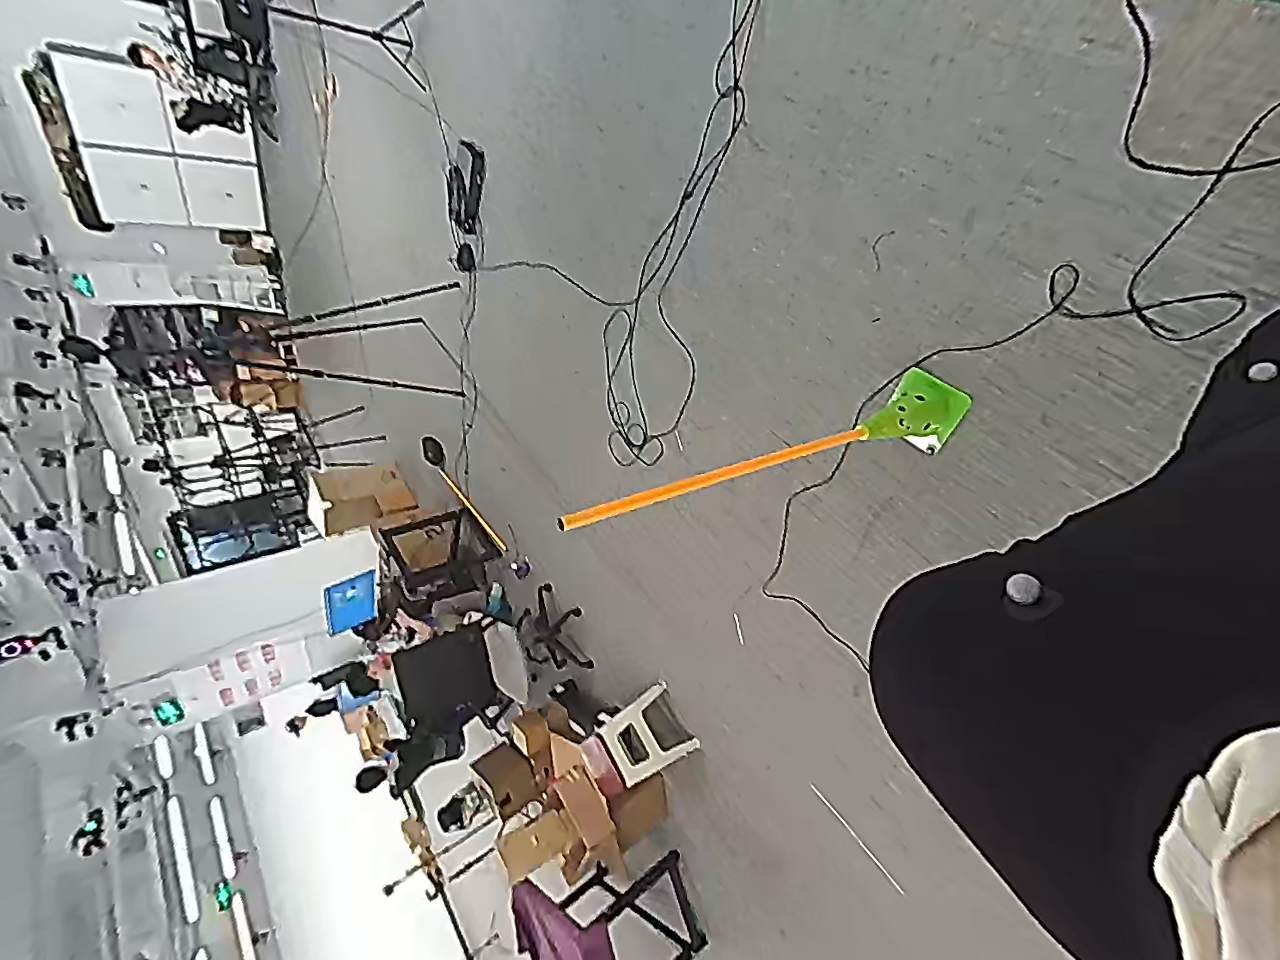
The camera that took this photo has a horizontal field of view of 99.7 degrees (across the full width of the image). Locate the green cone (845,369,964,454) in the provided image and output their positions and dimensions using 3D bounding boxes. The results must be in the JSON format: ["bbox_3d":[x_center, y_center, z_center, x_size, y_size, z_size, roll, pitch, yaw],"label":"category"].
[{"bbox_3d":[0.684,-0.164,1.485,0.202,0.368,0.200,45,134,33],"label":"green cone"}]
